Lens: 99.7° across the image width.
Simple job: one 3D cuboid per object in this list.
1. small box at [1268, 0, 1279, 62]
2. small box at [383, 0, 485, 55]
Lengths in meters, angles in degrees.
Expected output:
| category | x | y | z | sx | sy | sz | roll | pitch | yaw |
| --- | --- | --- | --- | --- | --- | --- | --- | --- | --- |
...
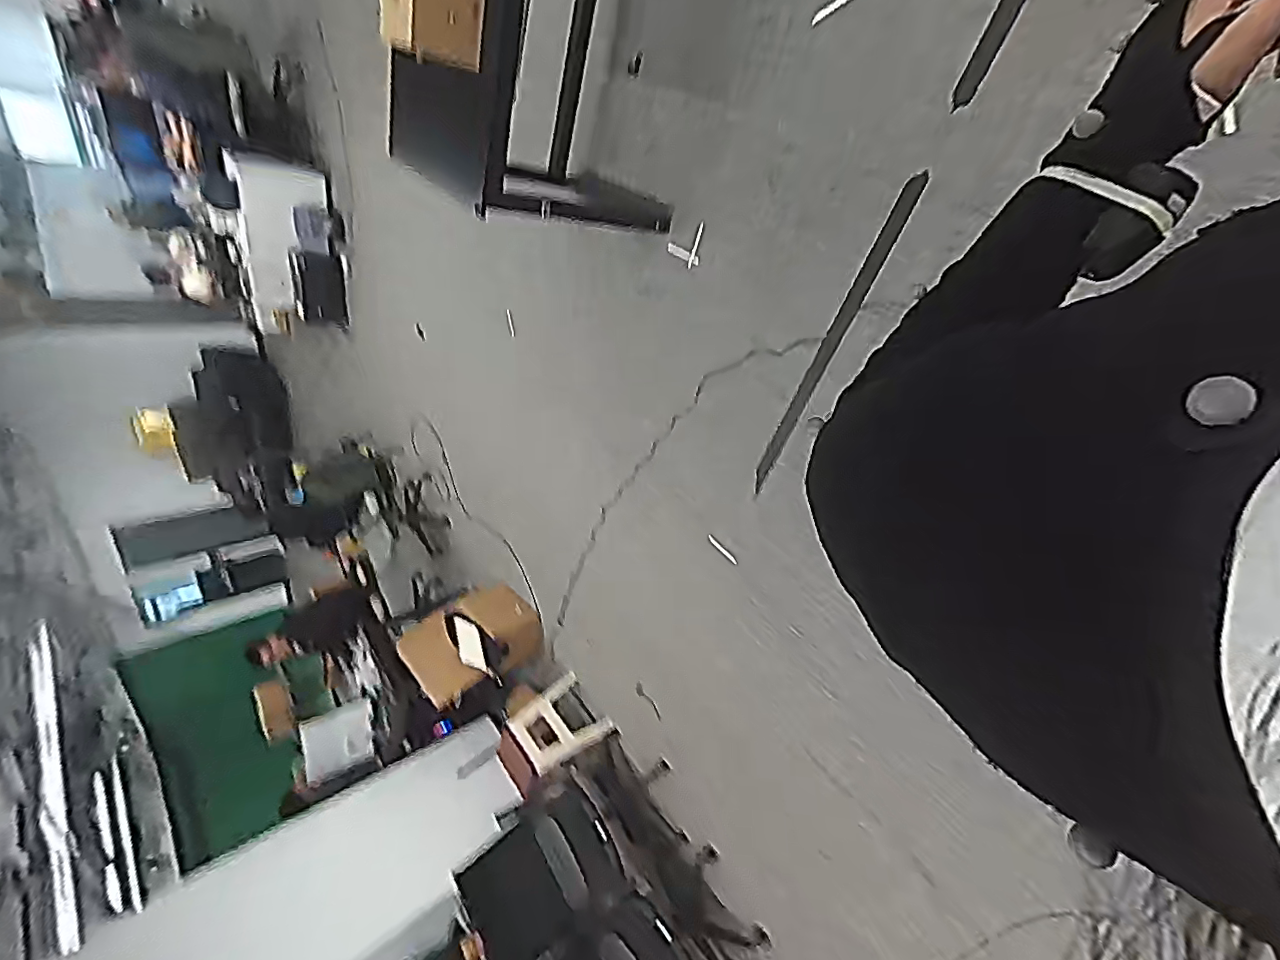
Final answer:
| category | x | y | z | sx | sy | sz | roll | pitch | yaw |
| --- | --- | --- | --- | --- | --- | --- | --- | --- | --- |
| small box | 0.464 | -0.344 | 0.271 | 0.179 | 0.176 | 0.168 | 11 | 117 | 44 |
| small box | -0.469 | -1.104 | 1.236 | 0.179 | 0.176 | 0.168 | 43 | 130 | 31 |
